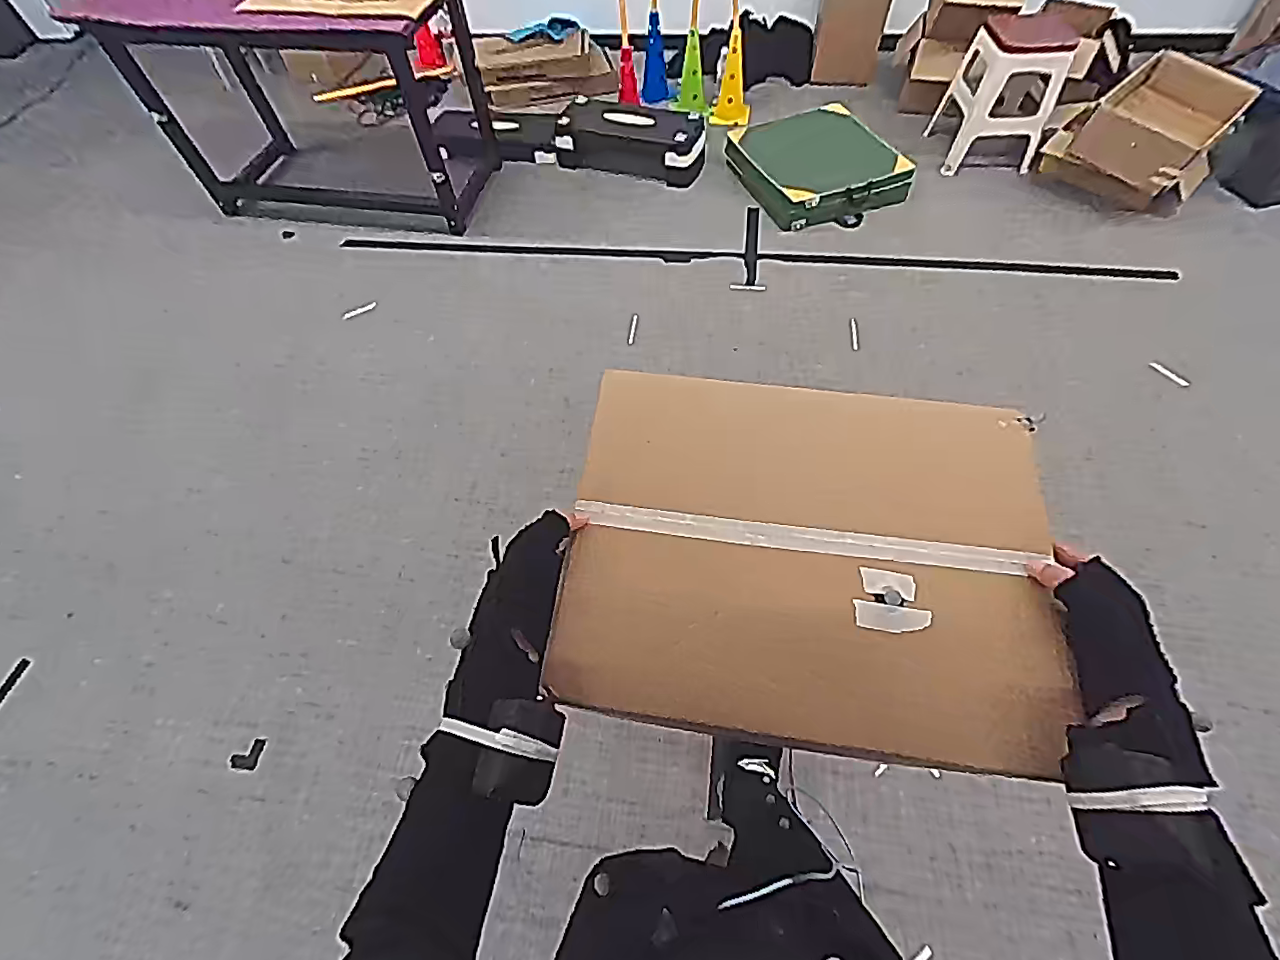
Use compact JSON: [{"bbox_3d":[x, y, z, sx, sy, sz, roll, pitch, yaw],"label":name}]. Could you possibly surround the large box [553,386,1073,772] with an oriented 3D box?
[{"bbox_3d":[0.145,0.123,0.609,0.408,0.320,0.320,7,66,5],"label":"large box"}]
